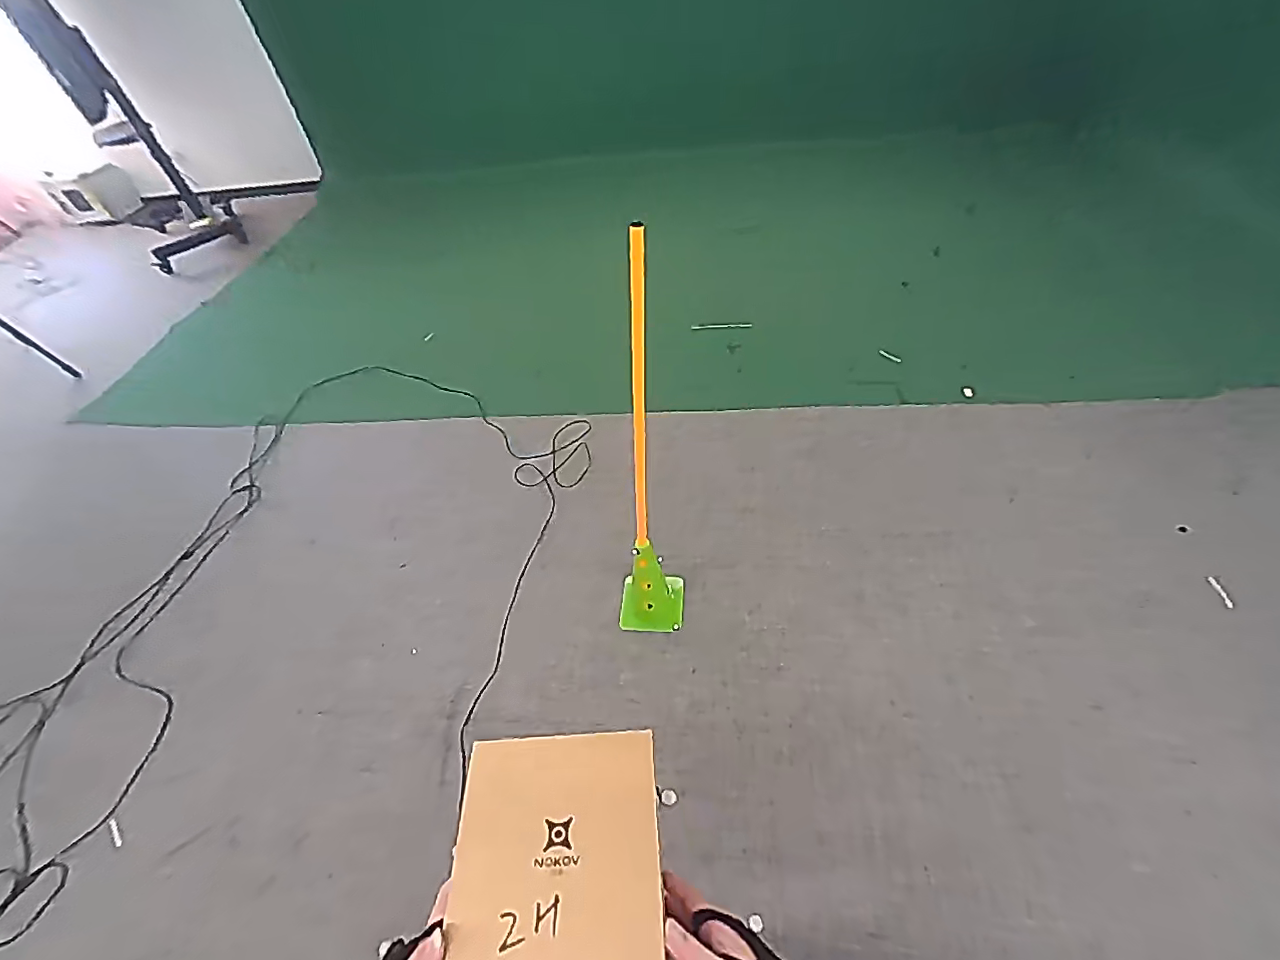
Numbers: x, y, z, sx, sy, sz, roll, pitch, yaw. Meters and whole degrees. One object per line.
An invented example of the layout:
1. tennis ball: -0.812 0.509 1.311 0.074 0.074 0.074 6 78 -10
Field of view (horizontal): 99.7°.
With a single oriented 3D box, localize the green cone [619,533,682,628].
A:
1. green cone: 0.017 0.280 1.655 0.202 0.368 0.200 0 48 8
